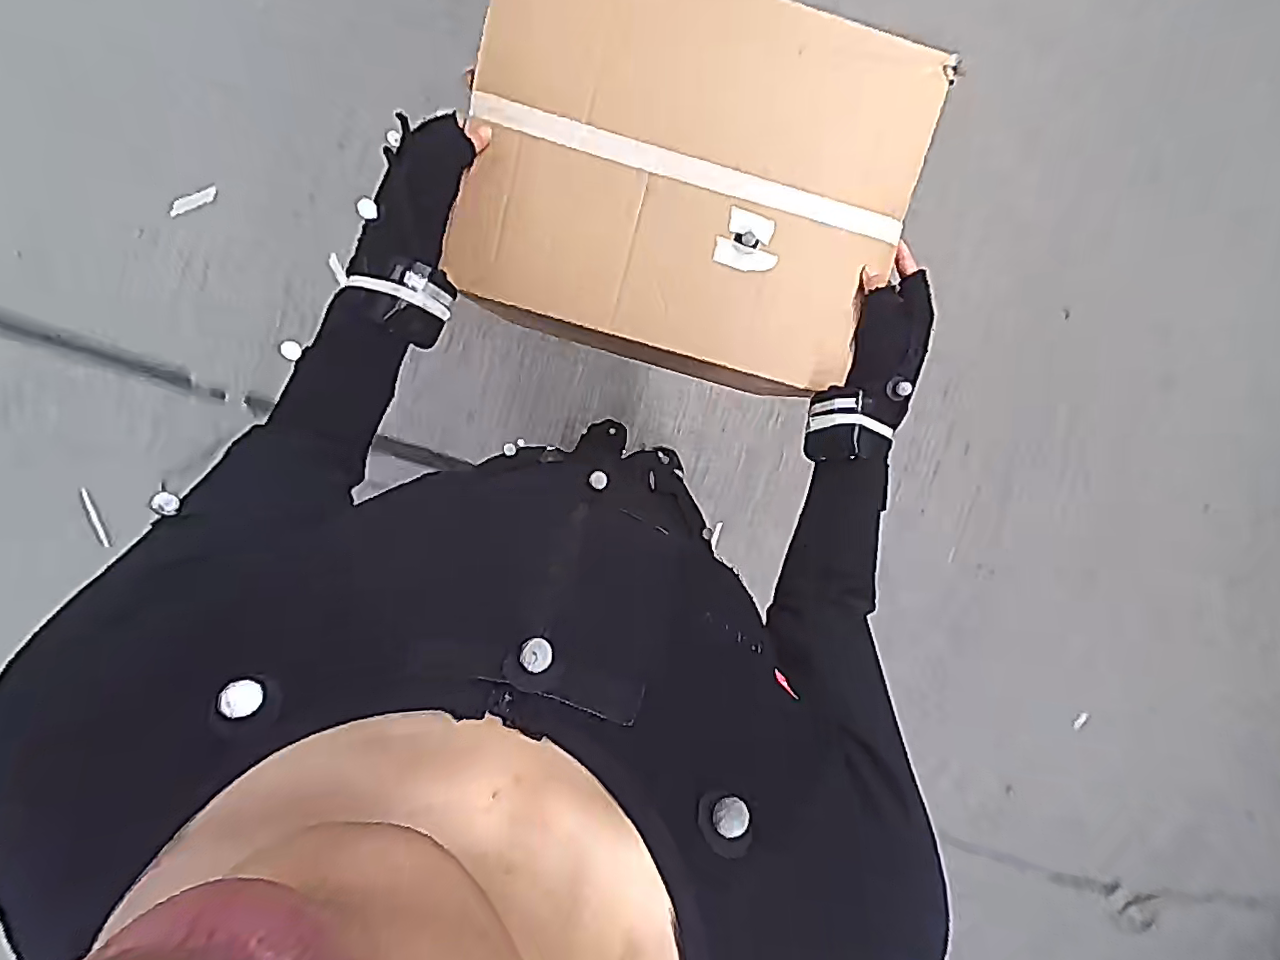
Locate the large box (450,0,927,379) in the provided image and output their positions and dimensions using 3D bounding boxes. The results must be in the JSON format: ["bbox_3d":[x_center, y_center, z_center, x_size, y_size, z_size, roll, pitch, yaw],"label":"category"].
[{"bbox_3d":[0.034,-0.318,0.654,0.408,0.320,0.320,13,100,-5],"label":"large box"}]
